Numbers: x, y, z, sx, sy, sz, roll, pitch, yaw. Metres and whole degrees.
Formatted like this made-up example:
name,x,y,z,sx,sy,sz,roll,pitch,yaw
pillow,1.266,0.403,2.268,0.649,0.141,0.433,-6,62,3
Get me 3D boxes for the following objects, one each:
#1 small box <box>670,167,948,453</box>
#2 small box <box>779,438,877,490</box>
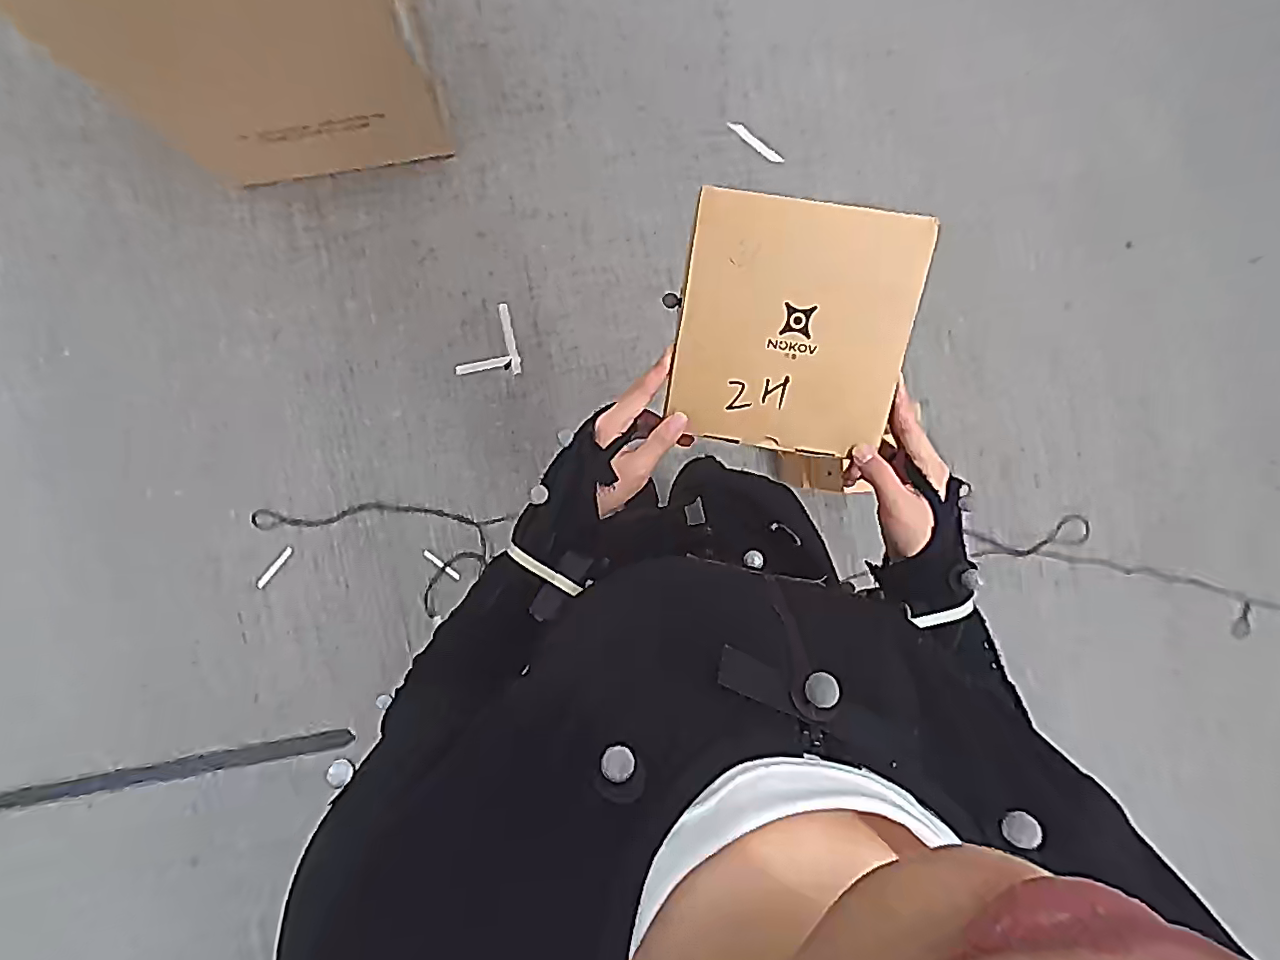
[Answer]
name,x,y,z,sx,sy,sz,roll,pitch,yaw
small box,0.117,-0.135,0.457,0.168,0.176,0.179,8,106,1
small box,0.449,-0.063,1.309,0.179,0.176,0.168,-2,91,-3
